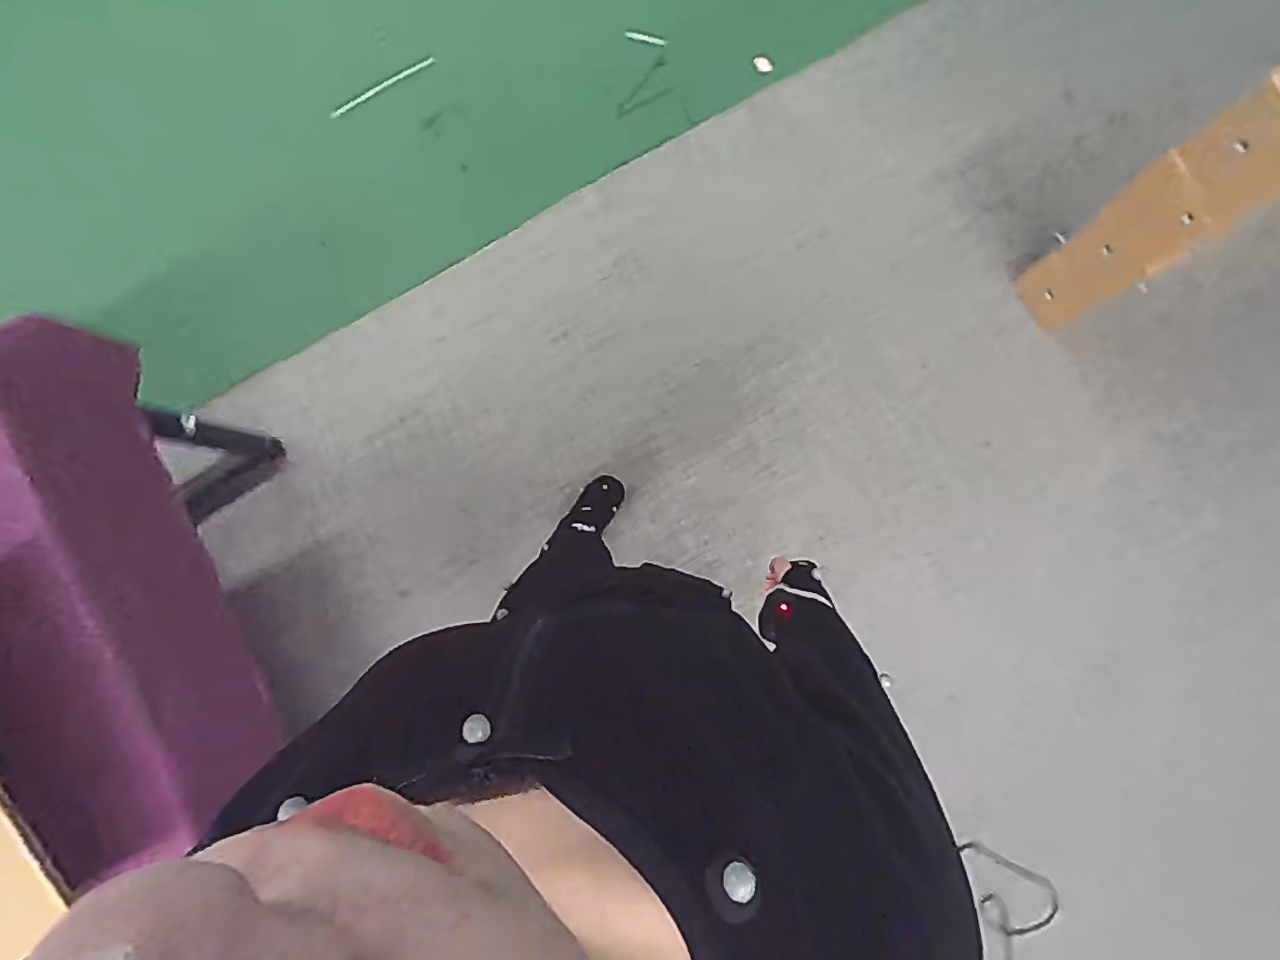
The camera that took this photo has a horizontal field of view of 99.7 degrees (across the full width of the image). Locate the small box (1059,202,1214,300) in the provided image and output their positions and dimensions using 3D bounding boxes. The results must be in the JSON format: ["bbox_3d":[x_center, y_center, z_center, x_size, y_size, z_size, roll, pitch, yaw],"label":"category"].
[{"bbox_3d":[1.138,-0.556,1.258,0.168,0.176,0.179,-27,82,1],"label":"small box"}]
